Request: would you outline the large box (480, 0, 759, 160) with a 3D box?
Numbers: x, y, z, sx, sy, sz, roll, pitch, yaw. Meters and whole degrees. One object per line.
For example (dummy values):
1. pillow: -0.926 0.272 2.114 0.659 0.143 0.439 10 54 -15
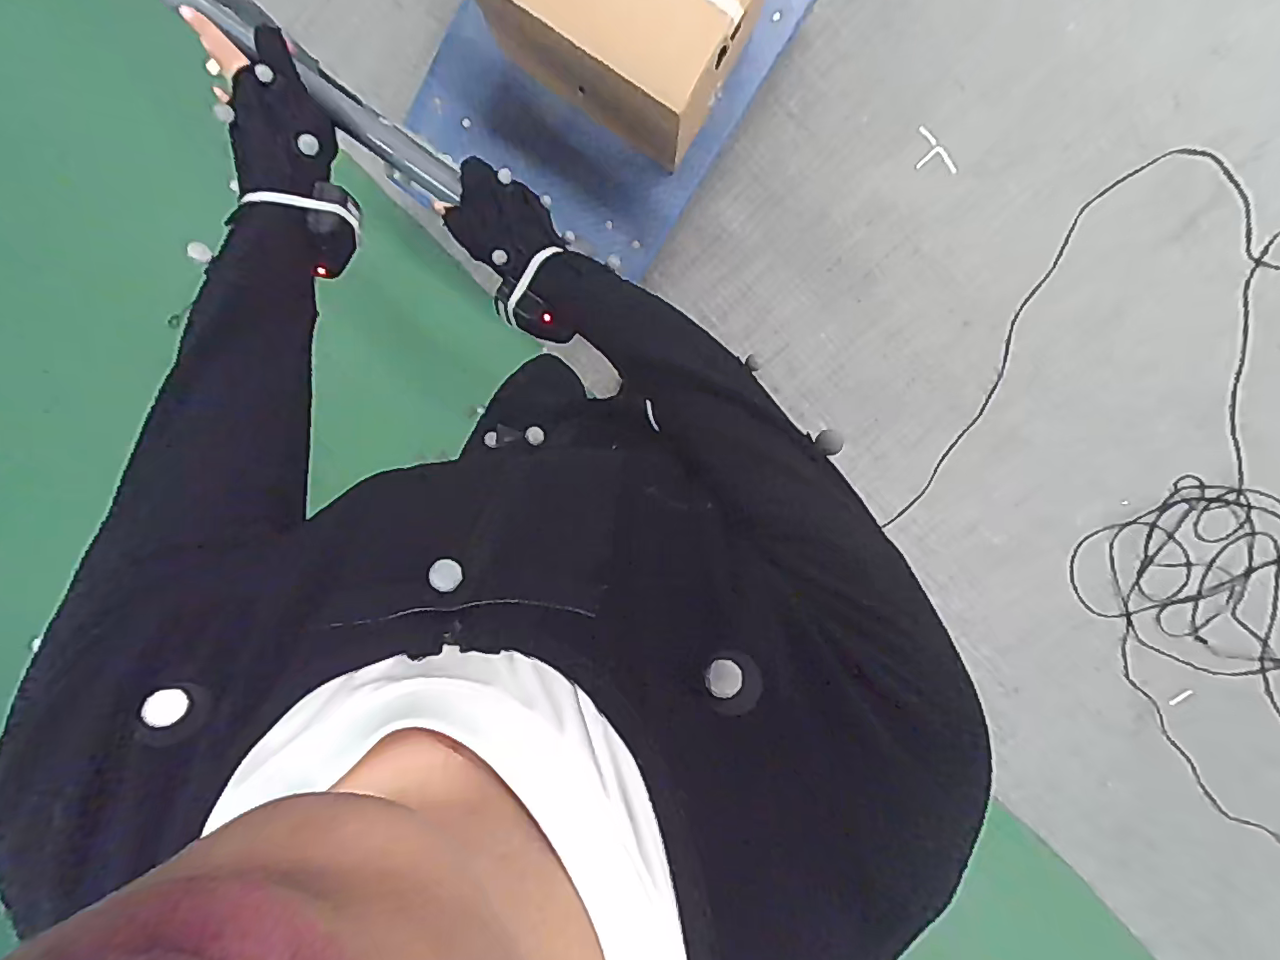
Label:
1. large box: -0.022 -0.847 0.937 0.408 0.320 0.320 30 103 -6
